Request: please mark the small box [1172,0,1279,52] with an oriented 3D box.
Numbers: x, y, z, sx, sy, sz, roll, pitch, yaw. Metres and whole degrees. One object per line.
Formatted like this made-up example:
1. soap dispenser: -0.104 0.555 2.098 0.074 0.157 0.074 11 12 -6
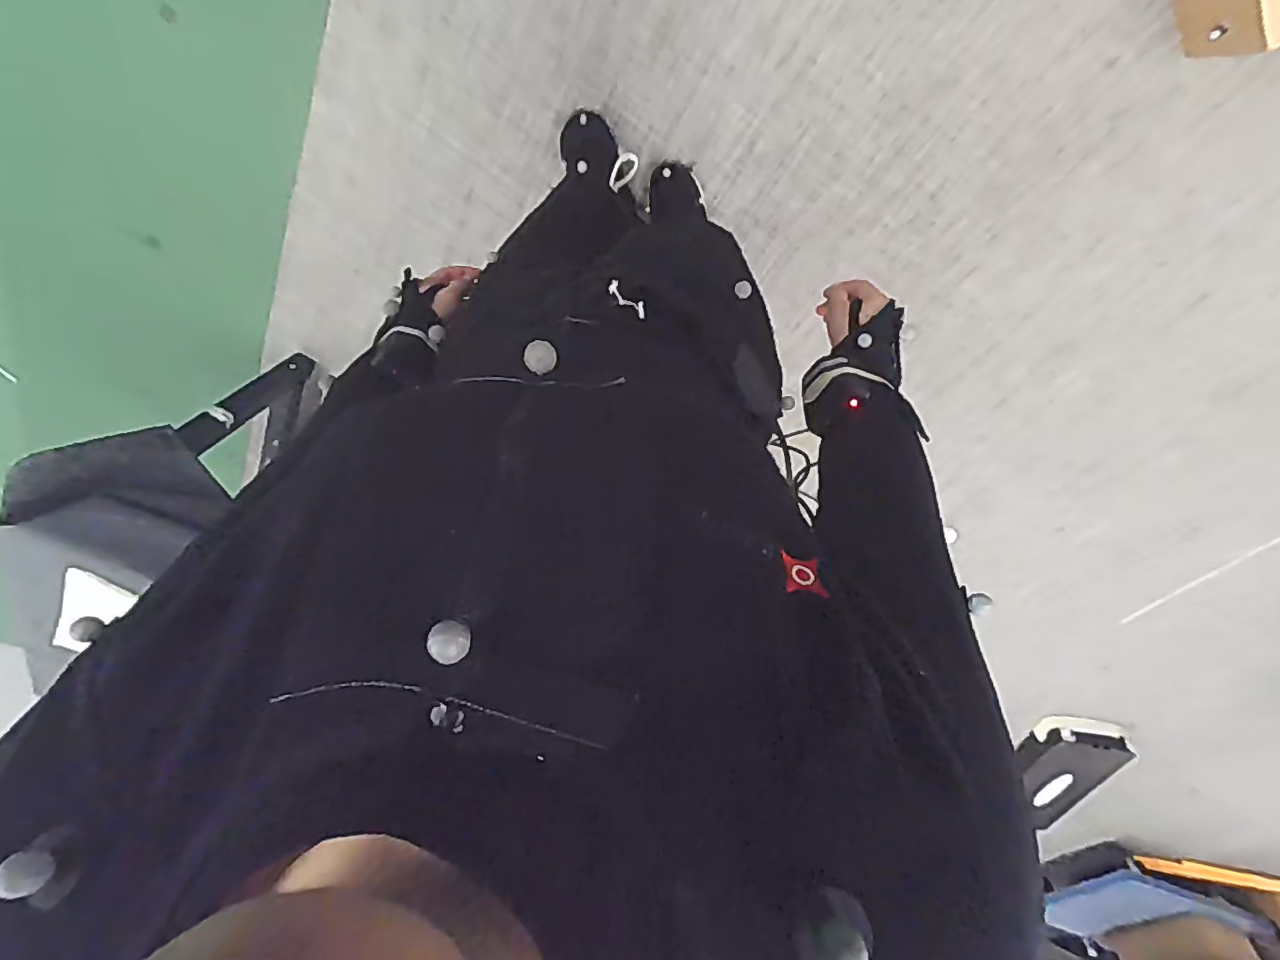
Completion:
1. small box: 0.922 -0.765 0.781 0.168 0.176 0.179 -34 114 26
